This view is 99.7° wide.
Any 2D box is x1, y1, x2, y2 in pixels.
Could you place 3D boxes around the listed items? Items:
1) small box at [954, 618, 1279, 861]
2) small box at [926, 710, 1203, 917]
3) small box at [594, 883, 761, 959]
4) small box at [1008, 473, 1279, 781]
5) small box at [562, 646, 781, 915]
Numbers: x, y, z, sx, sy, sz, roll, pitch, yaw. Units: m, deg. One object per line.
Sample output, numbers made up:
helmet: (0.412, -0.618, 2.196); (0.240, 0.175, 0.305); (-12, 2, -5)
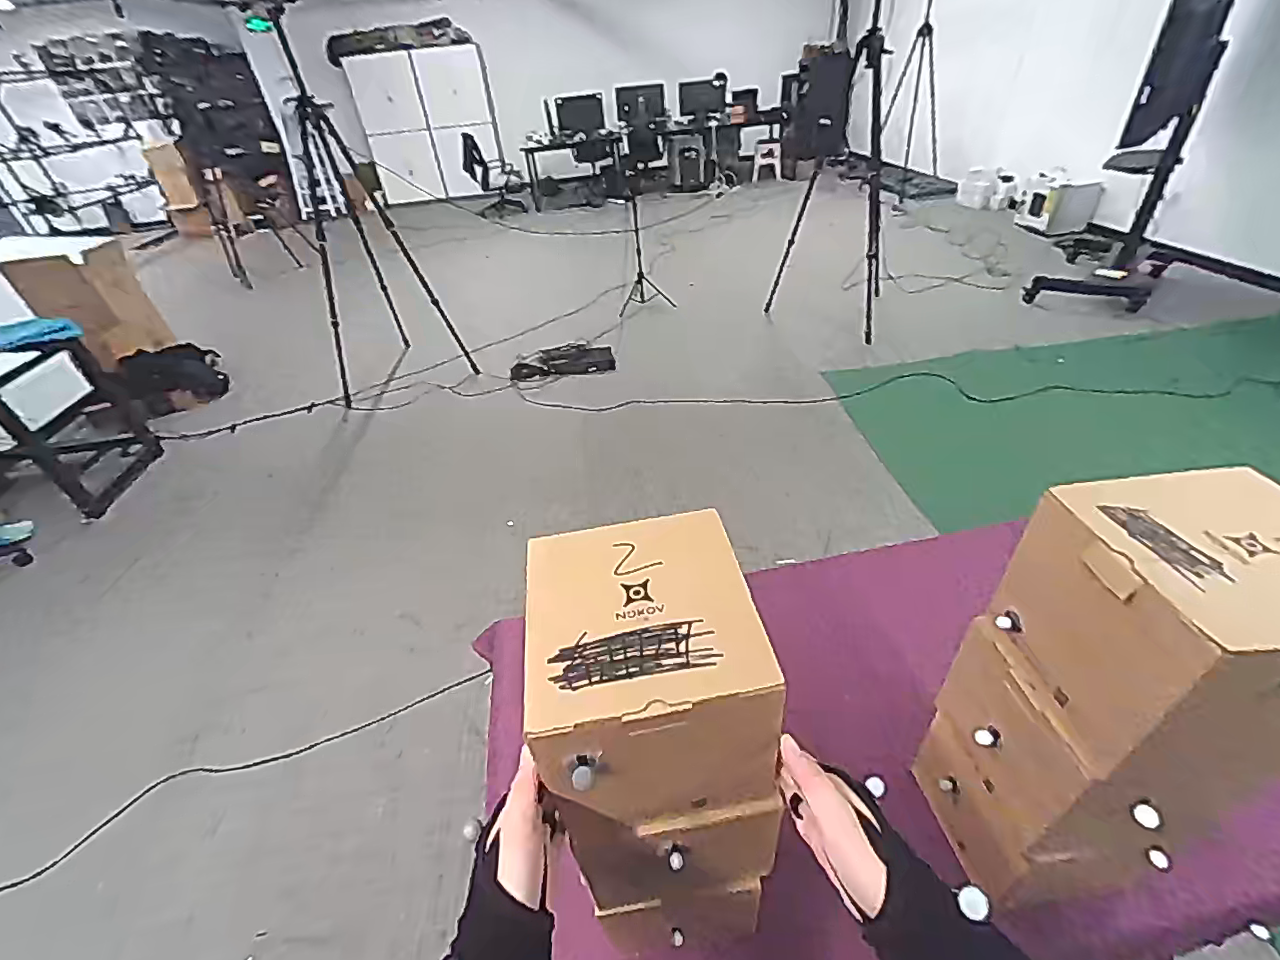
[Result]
small box: (0.439, 0.246, 0.530); (0.179, 0.176, 0.168); (-7, 38, 0)
small box: (0.462, 0.375, 0.630); (0.179, 0.176, 0.168); (-9, 37, -3)
small box: (0.037, 0.424, 0.630); (0.168, 0.176, 0.179); (-8, 37, -2)
small box: (0.433, 0.115, 0.429); (0.179, 0.176, 0.168); (-6, 37, -1)
small box: (0.026, 0.294, 0.532); (0.179, 0.176, 0.168); (-9, 38, -3)
